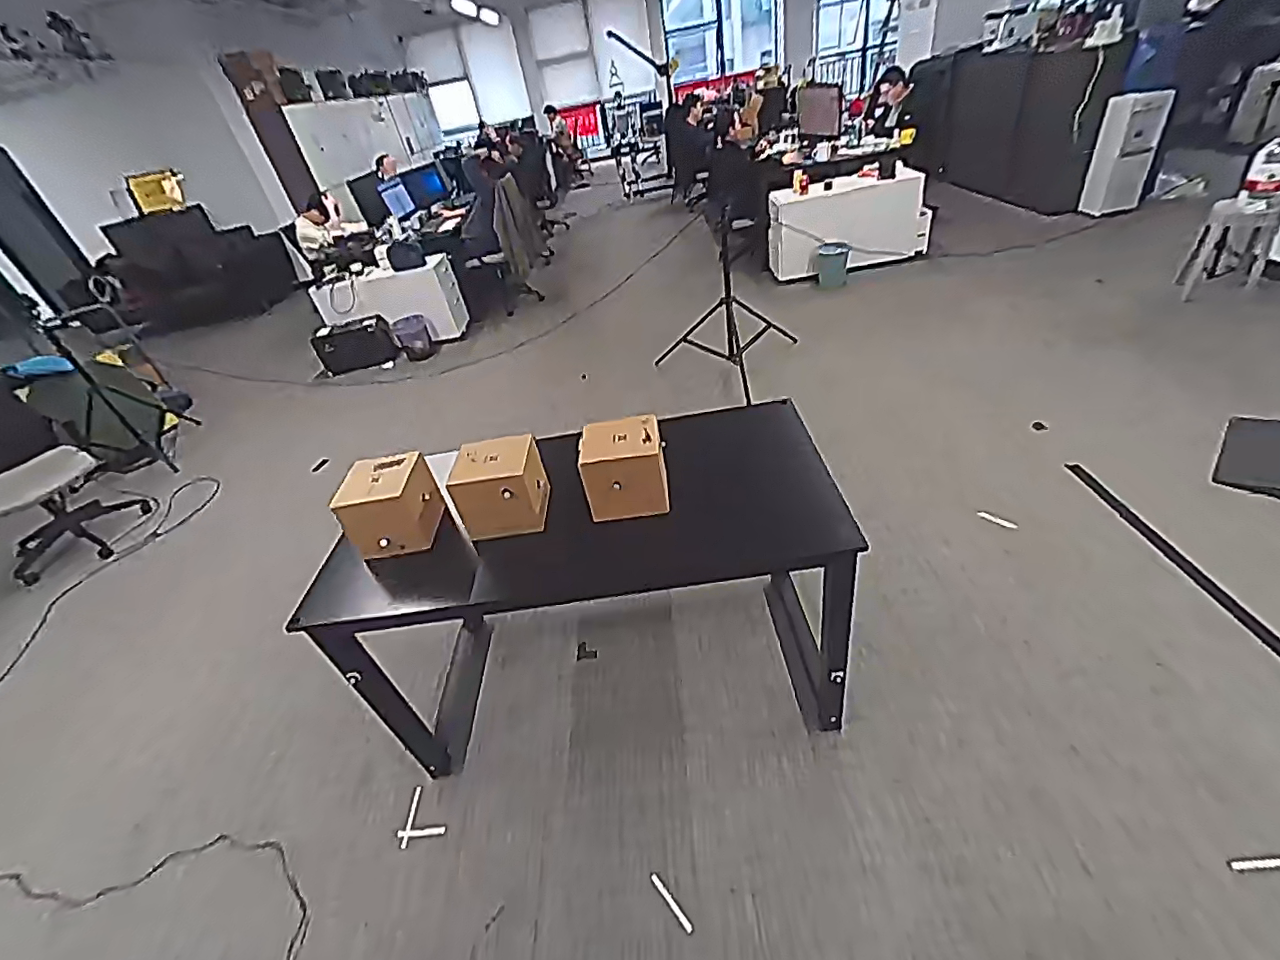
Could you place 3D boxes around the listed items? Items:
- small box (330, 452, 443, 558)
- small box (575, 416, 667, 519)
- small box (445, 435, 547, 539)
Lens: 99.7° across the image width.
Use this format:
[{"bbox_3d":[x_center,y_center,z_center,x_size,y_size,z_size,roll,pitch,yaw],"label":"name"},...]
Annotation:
[{"bbox_3d":[-0.590,0.060,1.289,0.168,0.176,0.179,-10,38,3],"label":"small box"},{"bbox_3d":[-0.038,-0.025,1.252,0.179,0.176,0.168,-8,37,6],"label":"small box"},{"bbox_3d":[-0.327,0.018,1.271,0.179,0.176,0.168,-9,36,4],"label":"small box"}]
